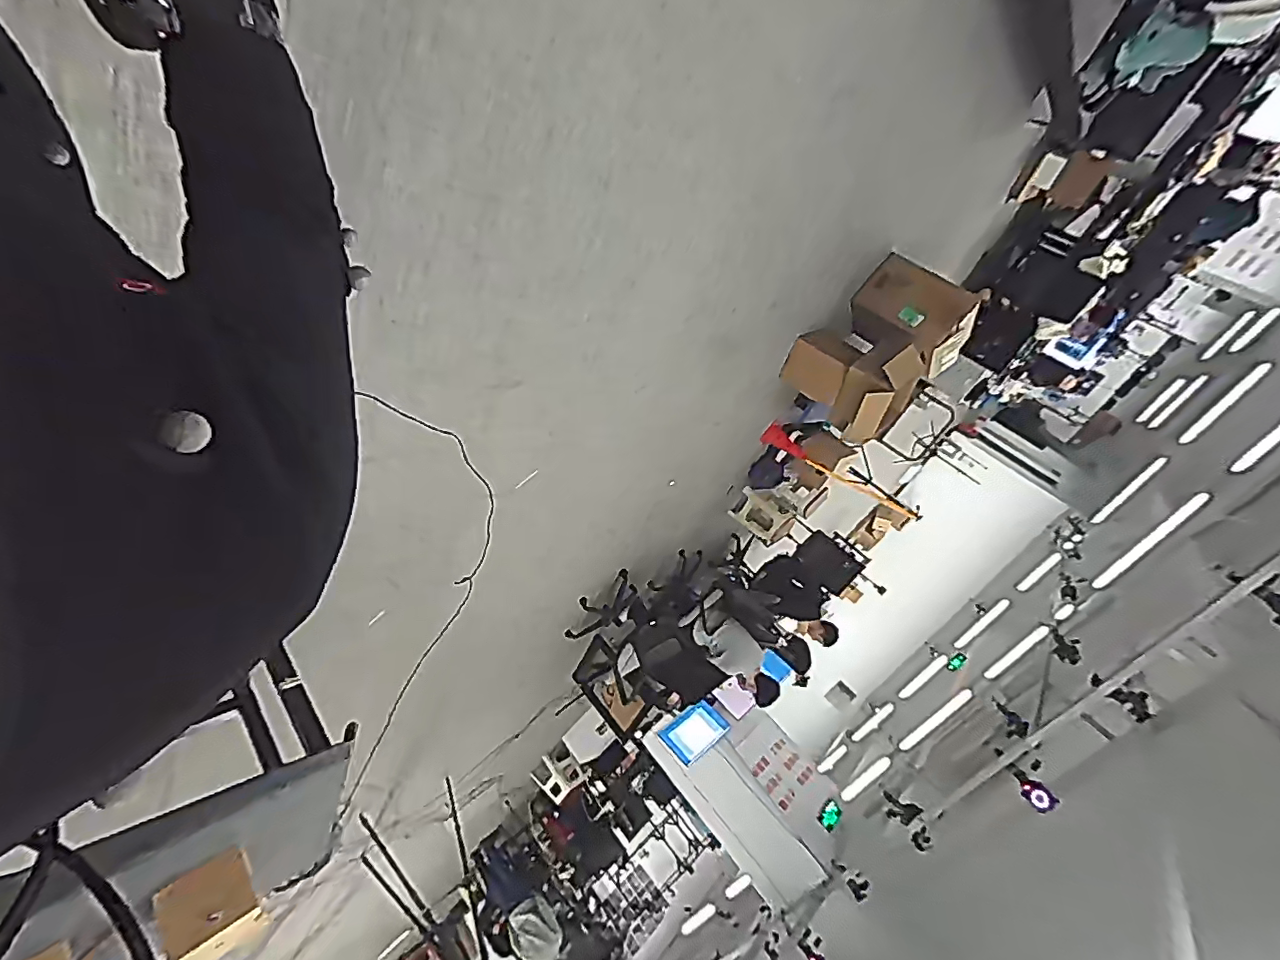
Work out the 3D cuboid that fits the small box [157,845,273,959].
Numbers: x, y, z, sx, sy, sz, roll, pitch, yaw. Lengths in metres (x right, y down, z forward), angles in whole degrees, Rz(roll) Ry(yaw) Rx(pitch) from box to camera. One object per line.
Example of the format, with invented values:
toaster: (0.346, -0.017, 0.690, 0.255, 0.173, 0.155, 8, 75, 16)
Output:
small box: (-1.027, 1.038, 1.313, 0.179, 0.176, 0.168, -19, 142, -41)
